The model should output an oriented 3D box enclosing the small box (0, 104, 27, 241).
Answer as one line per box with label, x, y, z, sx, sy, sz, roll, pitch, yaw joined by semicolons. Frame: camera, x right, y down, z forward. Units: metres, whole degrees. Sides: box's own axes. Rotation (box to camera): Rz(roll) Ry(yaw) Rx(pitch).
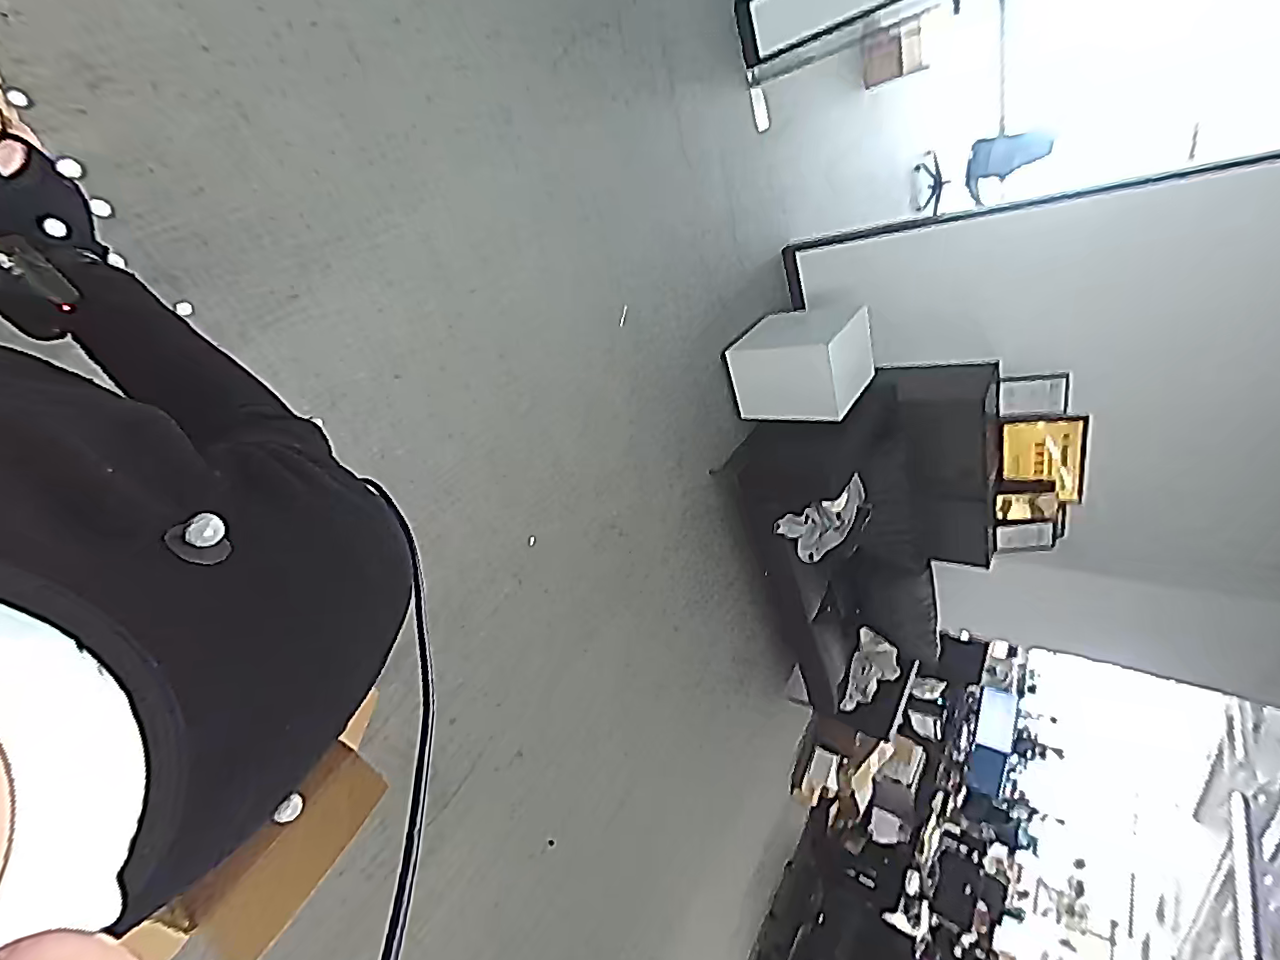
small box;-0.654;-0.313;0.442;0.179;0.176;0.168;-15;93;-40
